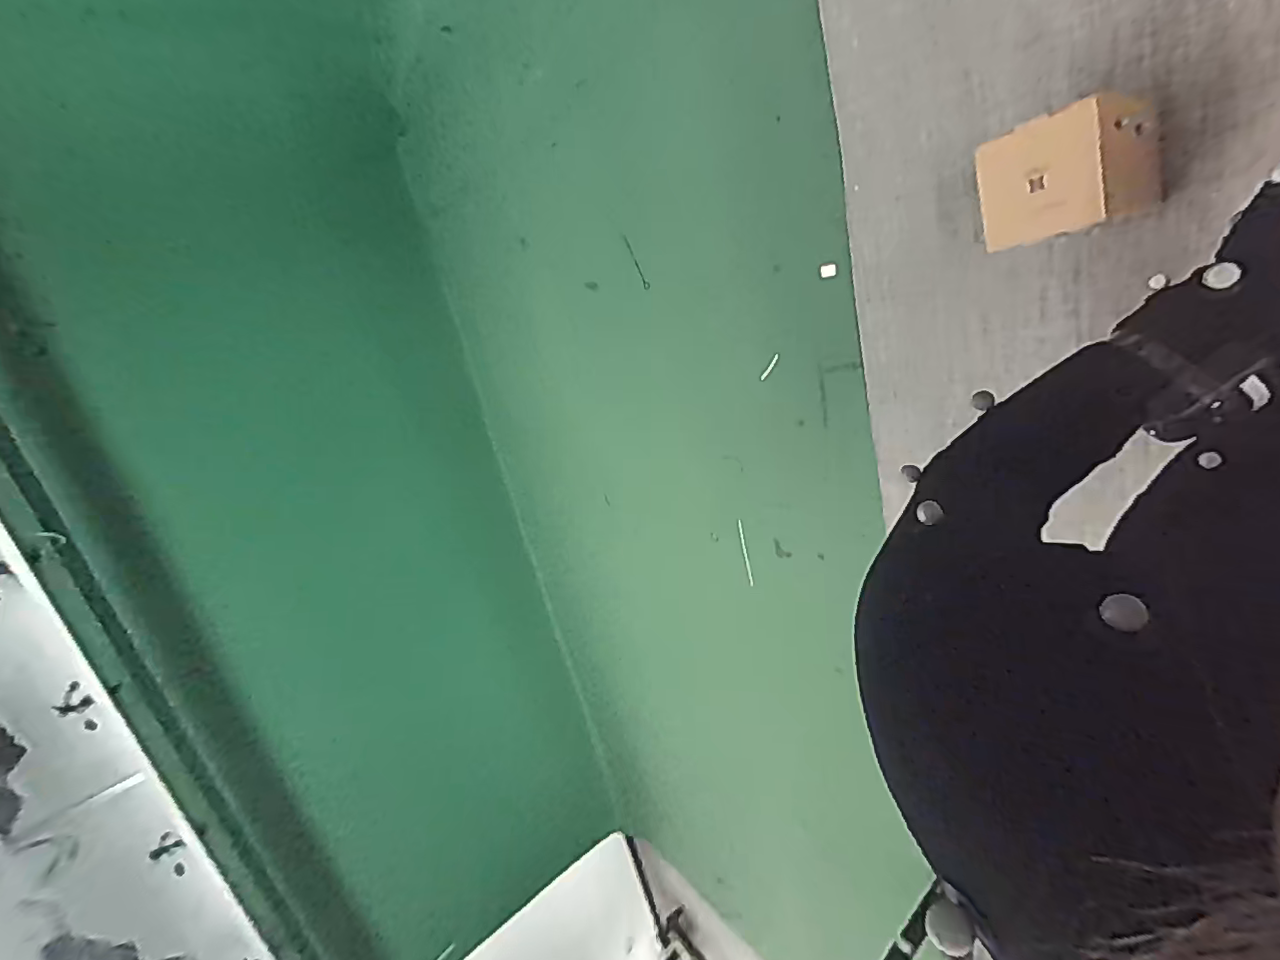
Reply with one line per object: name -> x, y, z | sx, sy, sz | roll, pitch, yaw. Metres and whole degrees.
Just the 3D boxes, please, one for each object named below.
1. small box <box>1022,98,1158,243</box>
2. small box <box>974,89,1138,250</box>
small box -> 0.807, -0.553, 0.981 | 0.168, 0.176, 0.179 | 1, 111, 55
small box -> 0.683, -0.501, 0.888 | 0.168, 0.176, 0.179 | 2, 113, 57
